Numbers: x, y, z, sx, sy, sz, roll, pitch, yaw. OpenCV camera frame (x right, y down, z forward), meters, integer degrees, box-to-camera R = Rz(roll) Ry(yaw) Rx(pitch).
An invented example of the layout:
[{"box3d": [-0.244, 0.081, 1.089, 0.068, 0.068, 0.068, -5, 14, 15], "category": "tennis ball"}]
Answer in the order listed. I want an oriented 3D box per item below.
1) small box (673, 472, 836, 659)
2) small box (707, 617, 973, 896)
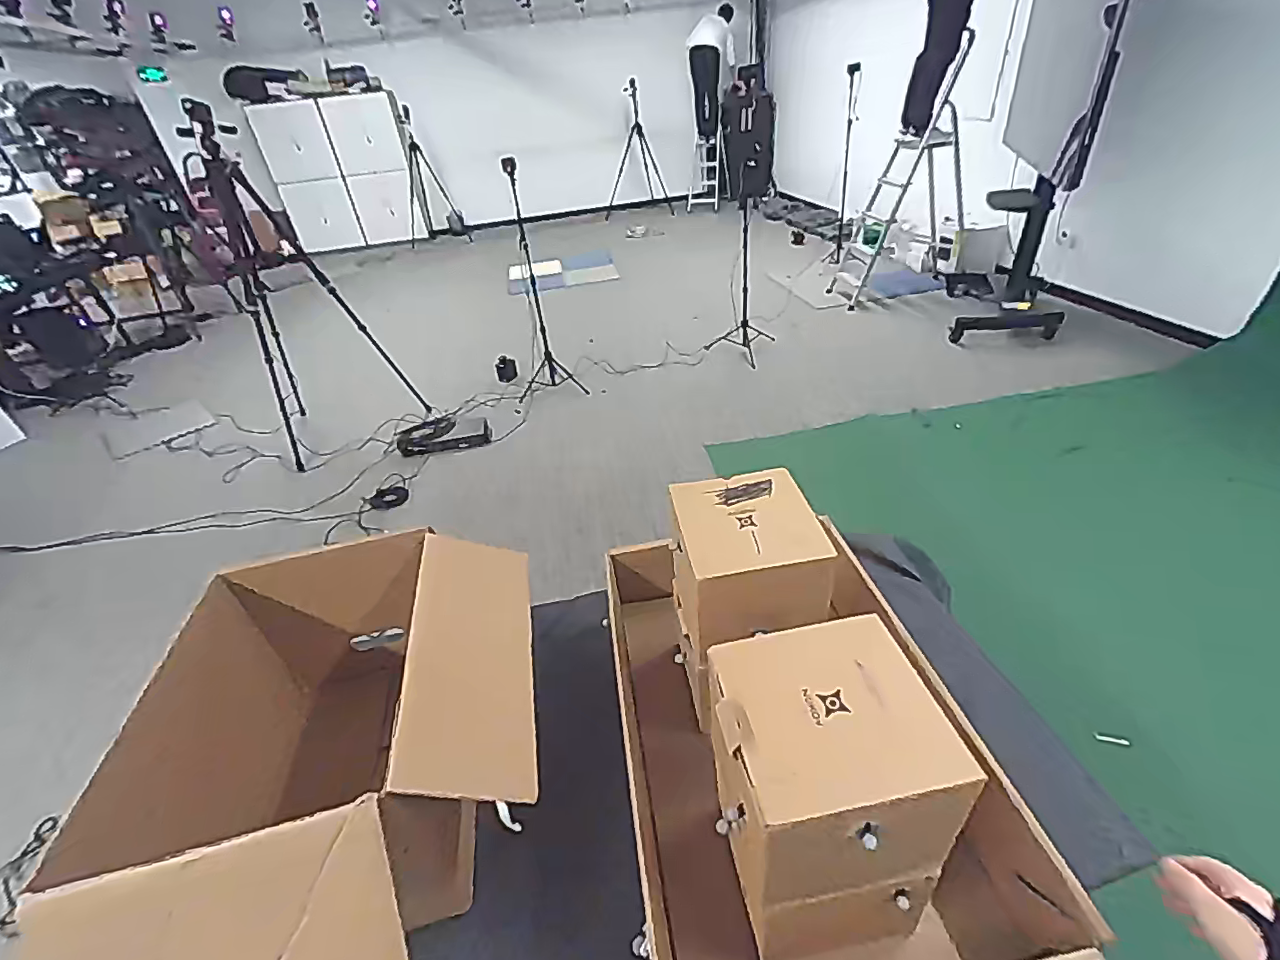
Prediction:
[{"box3d": [0.138, 0.114, 0.722, 0.168, 0.176, 0.179, -8, 38, -3], "category": "small box"}, {"box3d": [0.170, 0.263, 0.519, 0.179, 0.176, 0.168, -9, 36, -4], "category": "small box"}]
